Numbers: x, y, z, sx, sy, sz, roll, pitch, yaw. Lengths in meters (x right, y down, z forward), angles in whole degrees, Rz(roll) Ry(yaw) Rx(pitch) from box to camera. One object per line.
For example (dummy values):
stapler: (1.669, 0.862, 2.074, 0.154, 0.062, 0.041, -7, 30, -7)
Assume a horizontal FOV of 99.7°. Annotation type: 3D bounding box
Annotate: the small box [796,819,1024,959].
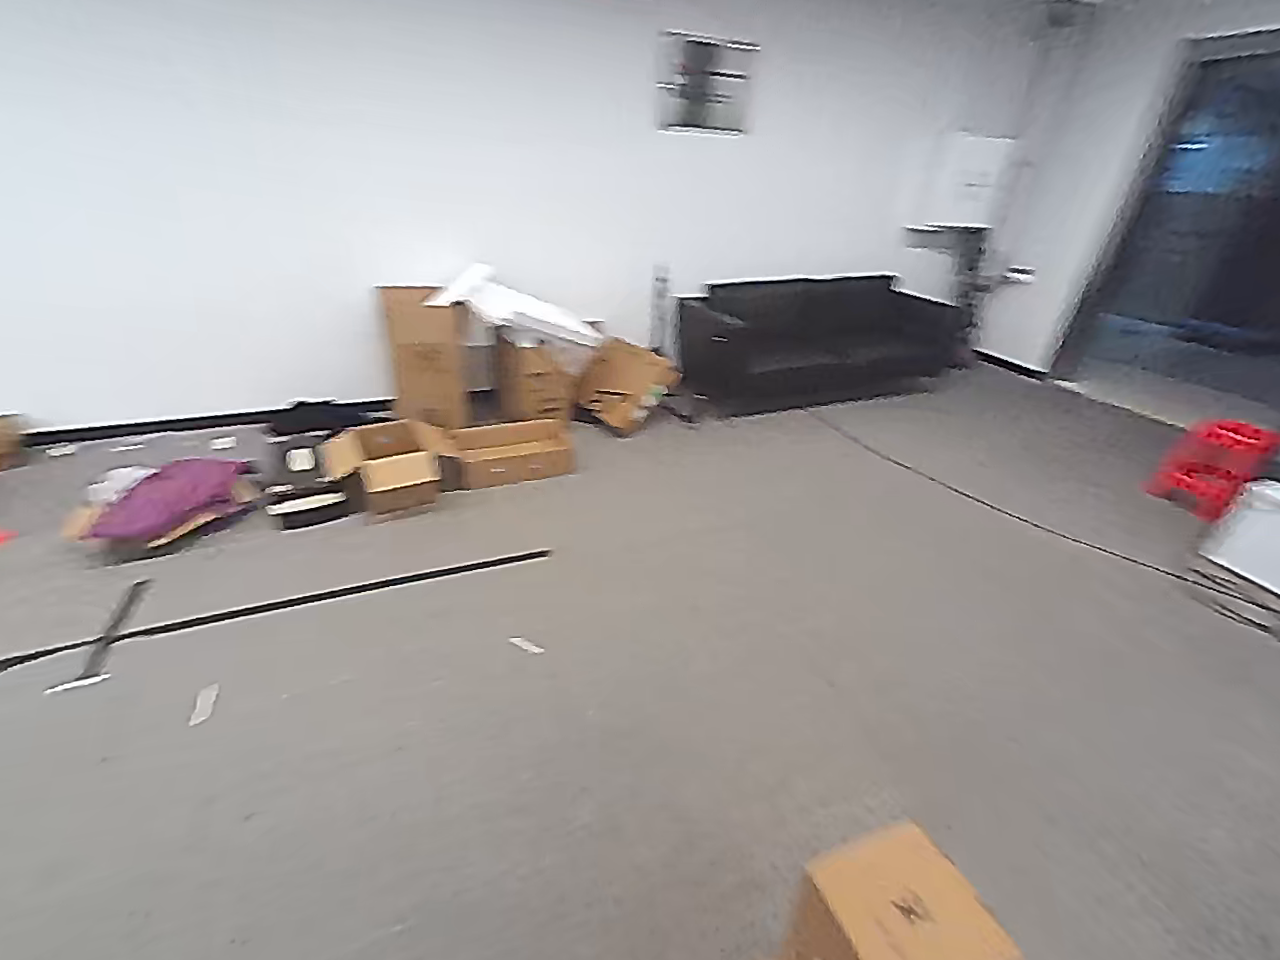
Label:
small box: (0.319, 0.577, 0.676, 0.179, 0.176, 0.168, -10, 30, -18)
